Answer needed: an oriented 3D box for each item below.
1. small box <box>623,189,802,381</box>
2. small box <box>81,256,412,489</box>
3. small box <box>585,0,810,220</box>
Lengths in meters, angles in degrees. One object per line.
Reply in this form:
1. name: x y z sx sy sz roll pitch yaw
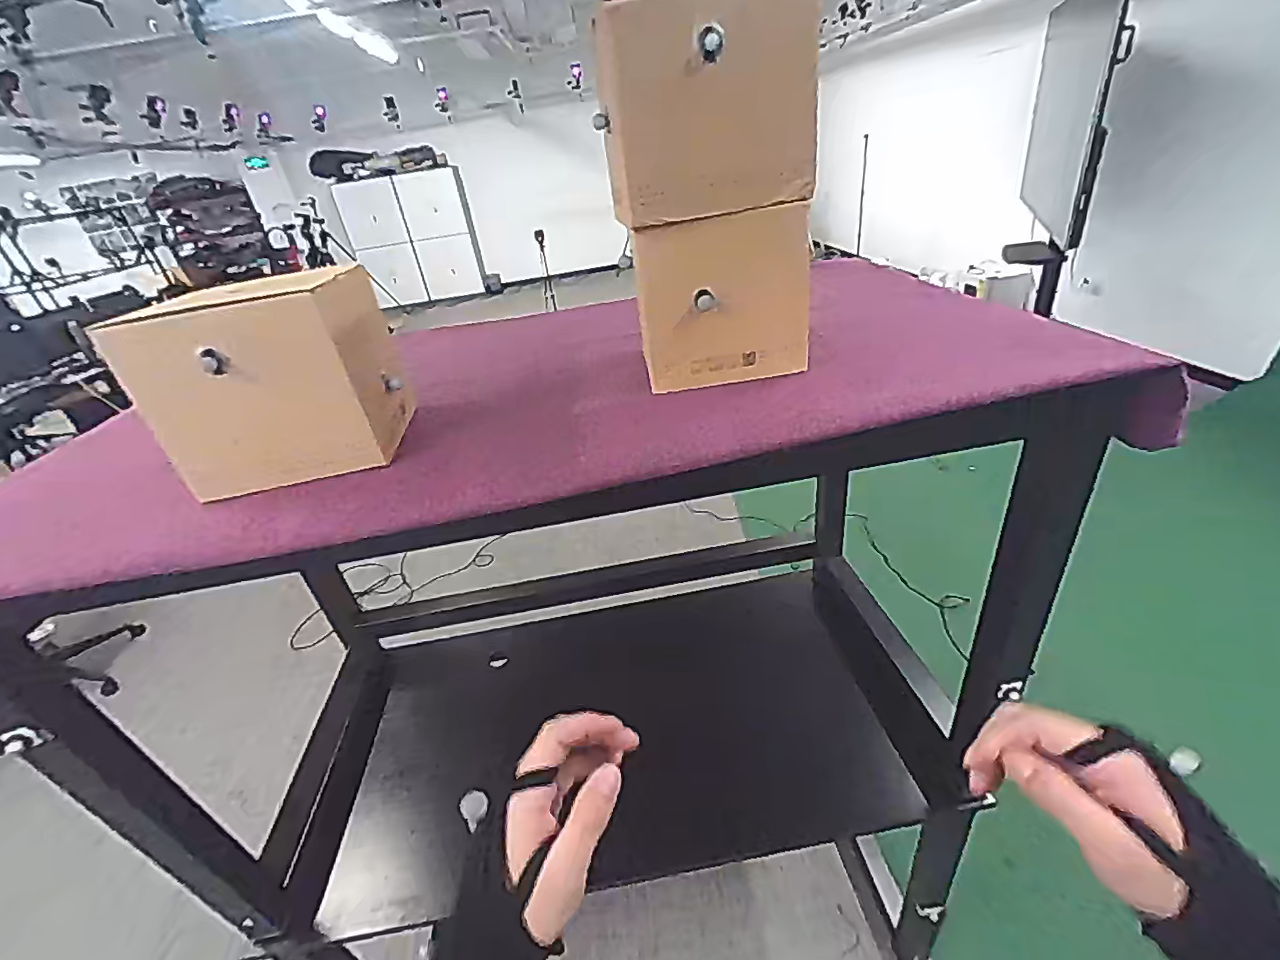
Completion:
1. small box: 0.077 -0.218 0.600 0.168 0.176 0.179 -9 30 2
2. small box: -0.353 -0.109 0.533 0.179 0.176 0.168 -12 31 -5
3. small box: 0.051 -0.352 0.510 0.179 0.176 0.168 -10 31 -1
